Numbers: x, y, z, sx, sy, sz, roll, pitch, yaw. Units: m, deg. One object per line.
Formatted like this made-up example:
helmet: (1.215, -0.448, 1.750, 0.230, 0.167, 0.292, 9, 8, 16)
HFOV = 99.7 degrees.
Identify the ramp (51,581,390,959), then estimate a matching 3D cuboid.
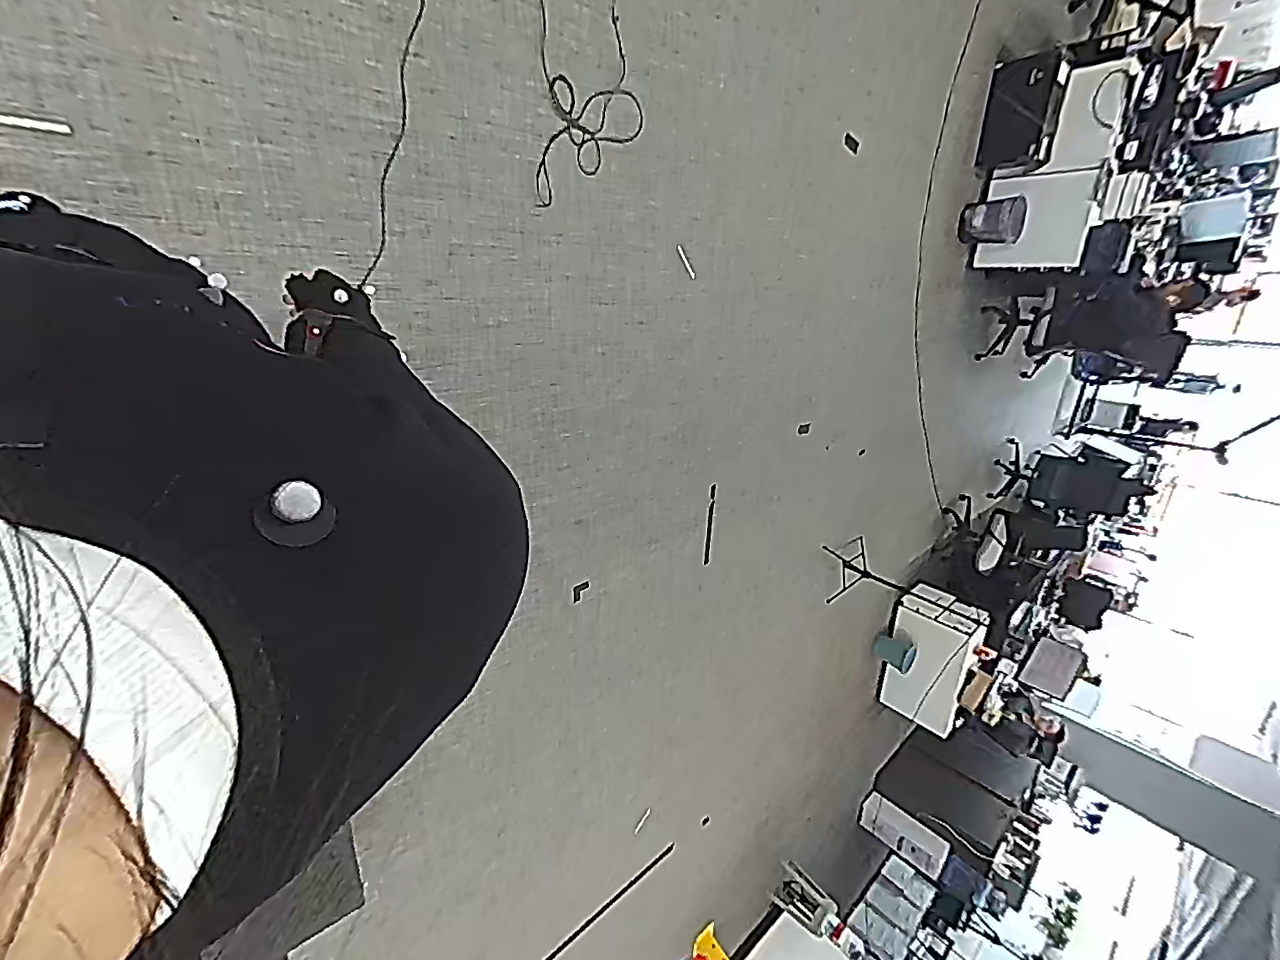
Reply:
ramp: (-0.964, 0.788, 1.333, 0.509, 0.206, 0.991, -16, 115, -37)
